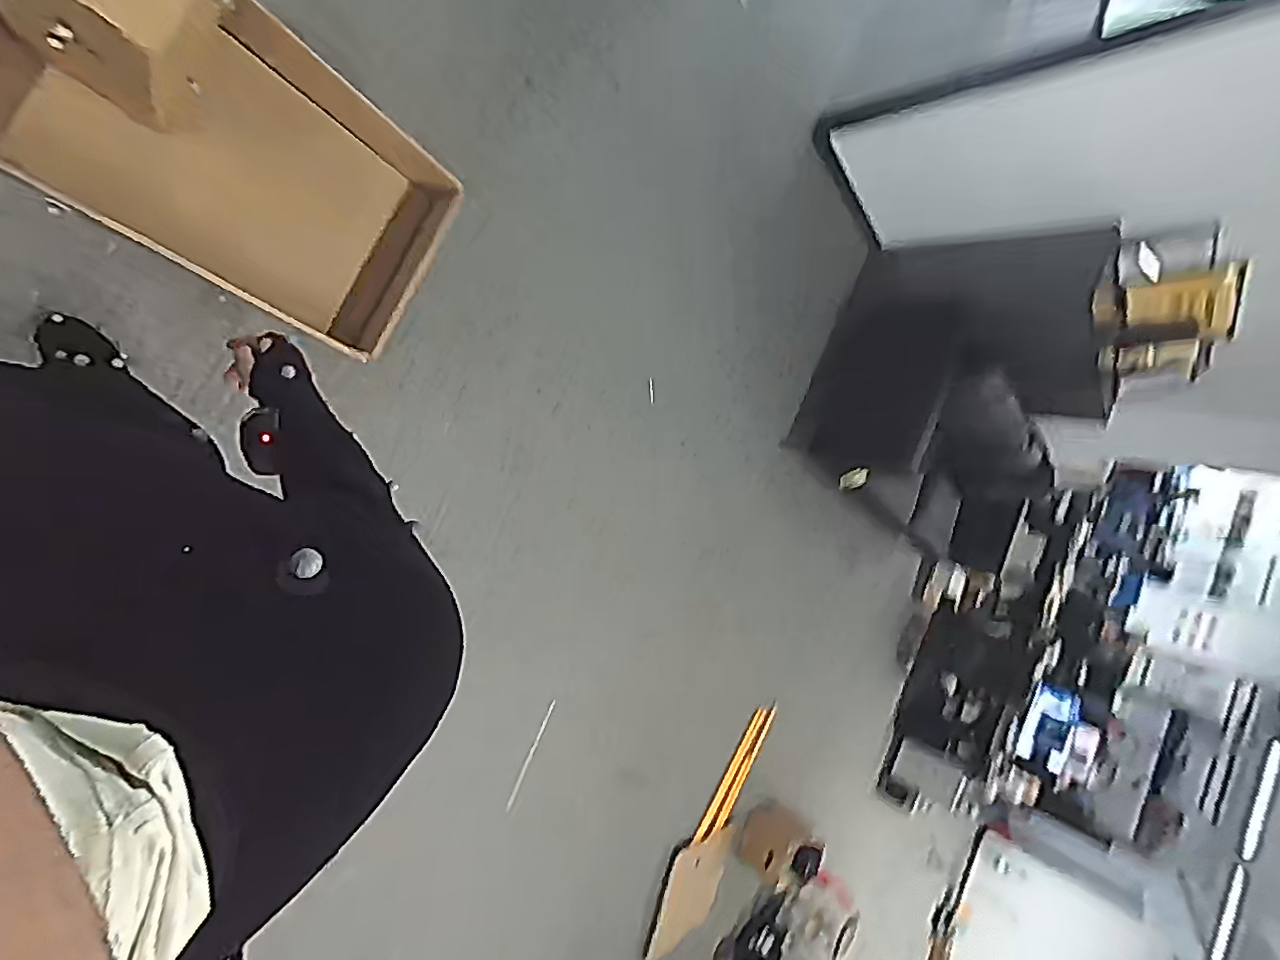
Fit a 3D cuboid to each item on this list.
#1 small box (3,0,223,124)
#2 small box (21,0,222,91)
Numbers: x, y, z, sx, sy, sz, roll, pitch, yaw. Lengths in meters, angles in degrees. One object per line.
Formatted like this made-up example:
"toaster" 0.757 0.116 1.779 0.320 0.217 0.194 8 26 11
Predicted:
"small box" -0.723 -0.641 0.744 0.168 0.176 0.179 34 78 -43
"small box" -0.614 -0.607 0.627 0.168 0.176 0.179 37 77 -42
